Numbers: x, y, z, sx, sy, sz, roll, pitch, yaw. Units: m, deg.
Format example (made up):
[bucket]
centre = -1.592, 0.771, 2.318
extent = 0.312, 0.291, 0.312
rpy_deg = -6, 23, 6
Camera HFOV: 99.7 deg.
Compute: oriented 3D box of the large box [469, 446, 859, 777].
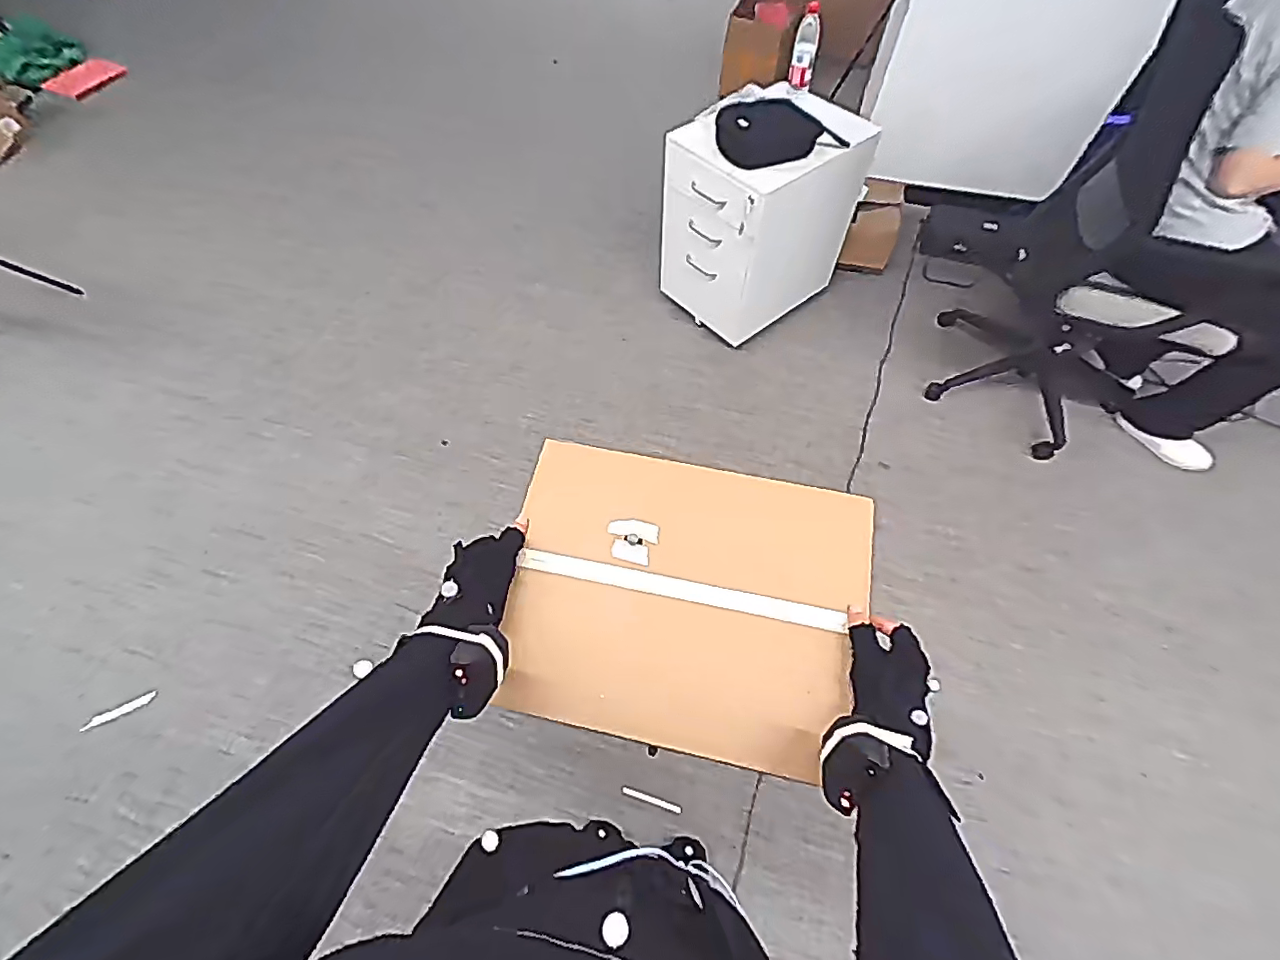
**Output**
[large box]
centre = 0.048, 0.184, 0.747
extent = 0.408, 0.320, 0.320
rpy_deg = 10, 66, 8
